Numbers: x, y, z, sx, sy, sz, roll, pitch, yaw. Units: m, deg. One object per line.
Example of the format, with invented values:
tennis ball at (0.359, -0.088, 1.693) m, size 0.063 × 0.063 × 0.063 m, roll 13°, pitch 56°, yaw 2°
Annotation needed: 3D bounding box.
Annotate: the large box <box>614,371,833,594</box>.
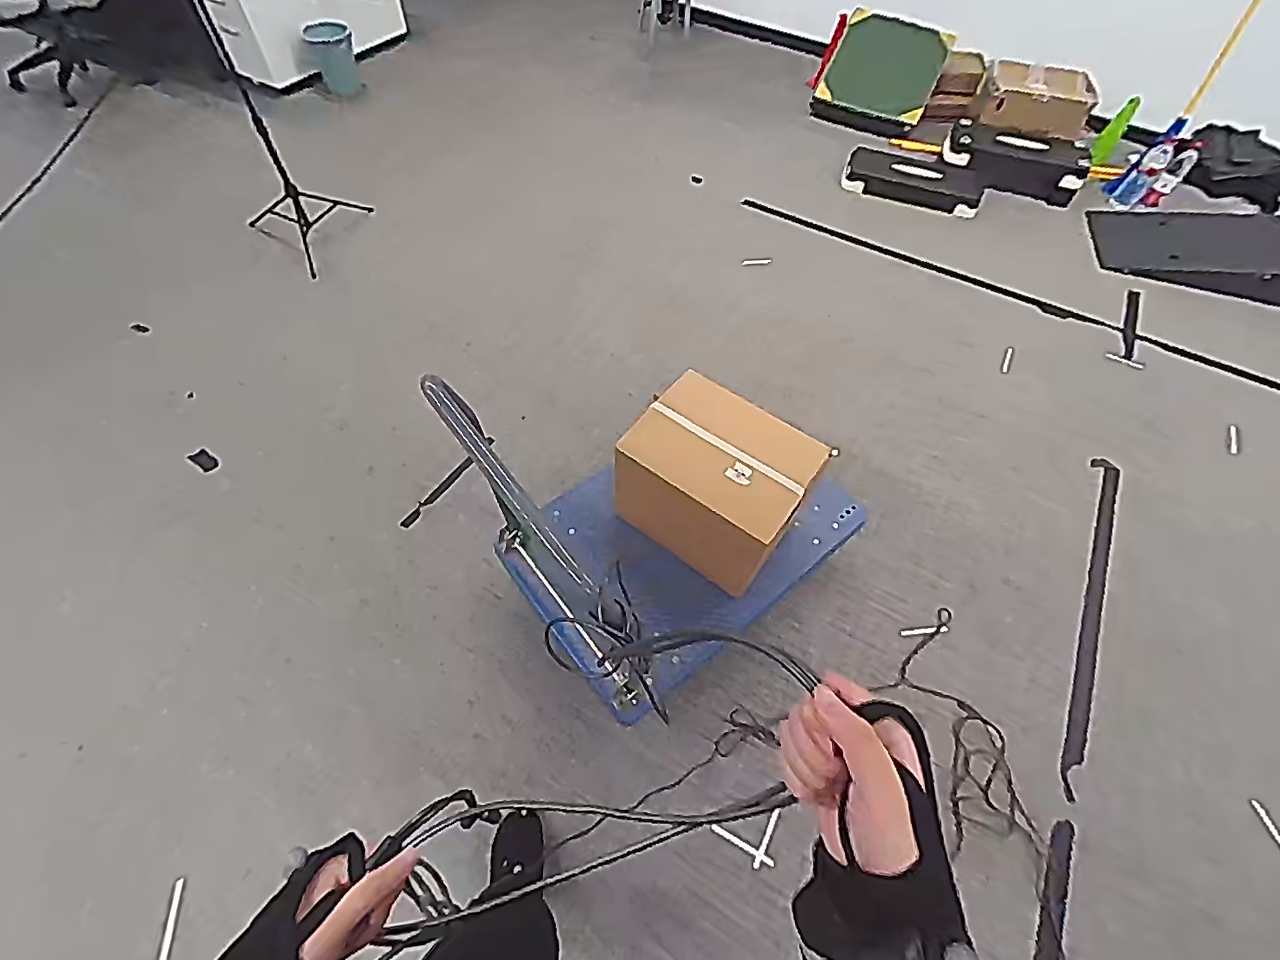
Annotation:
large box at (0.185, 0.007, 1.345) m, size 0.408 × 0.320 × 0.320 m, roll 34°, pitch 63°, yaw 16°
